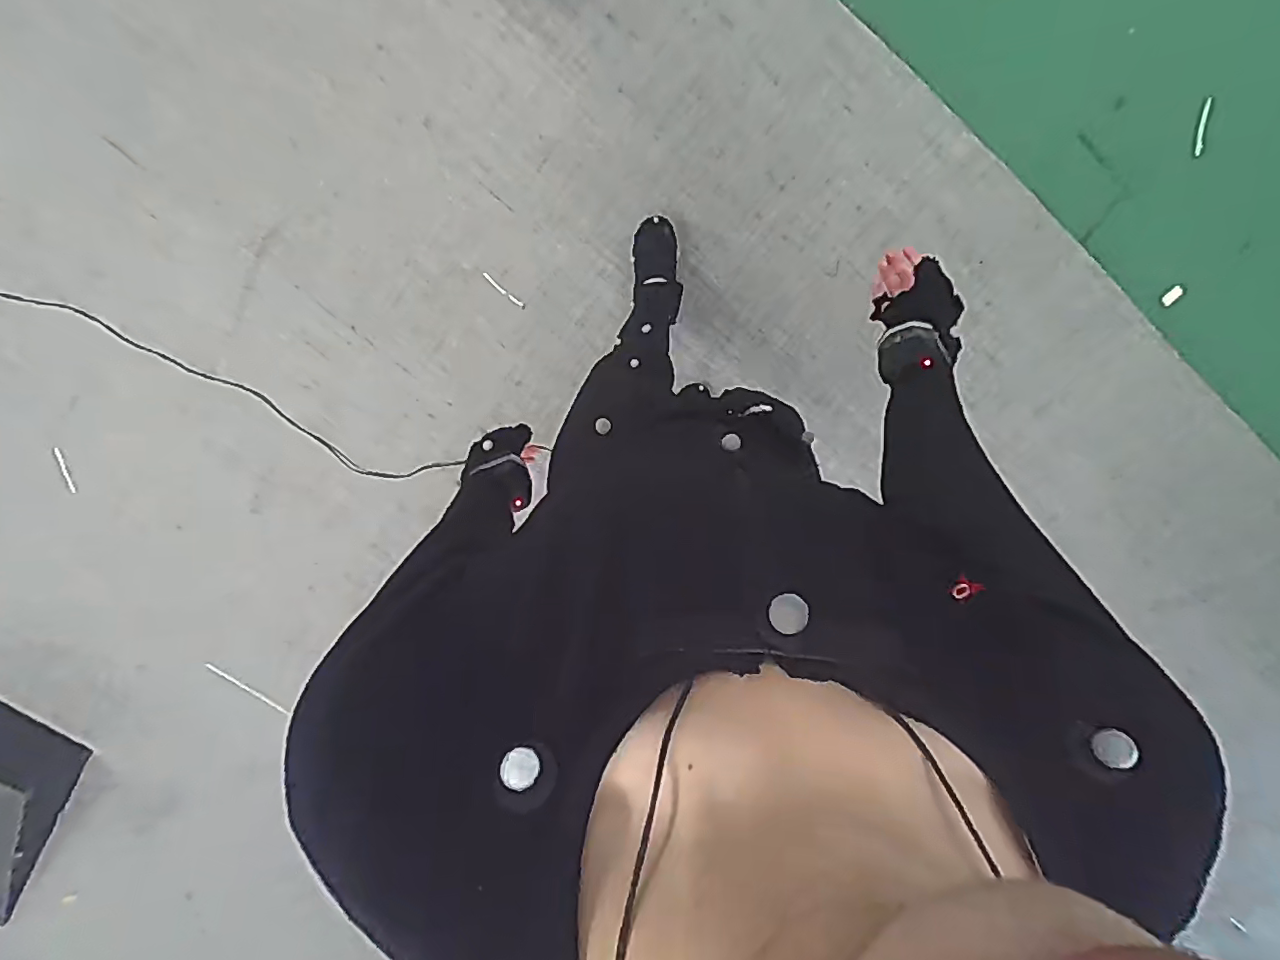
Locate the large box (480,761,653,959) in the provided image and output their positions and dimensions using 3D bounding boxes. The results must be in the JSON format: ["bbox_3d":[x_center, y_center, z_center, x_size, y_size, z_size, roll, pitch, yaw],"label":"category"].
[{"bbox_3d":[-0.210,1.179,1.684,0.408,0.320,0.320,39,103,-9],"label":"large box"}]
